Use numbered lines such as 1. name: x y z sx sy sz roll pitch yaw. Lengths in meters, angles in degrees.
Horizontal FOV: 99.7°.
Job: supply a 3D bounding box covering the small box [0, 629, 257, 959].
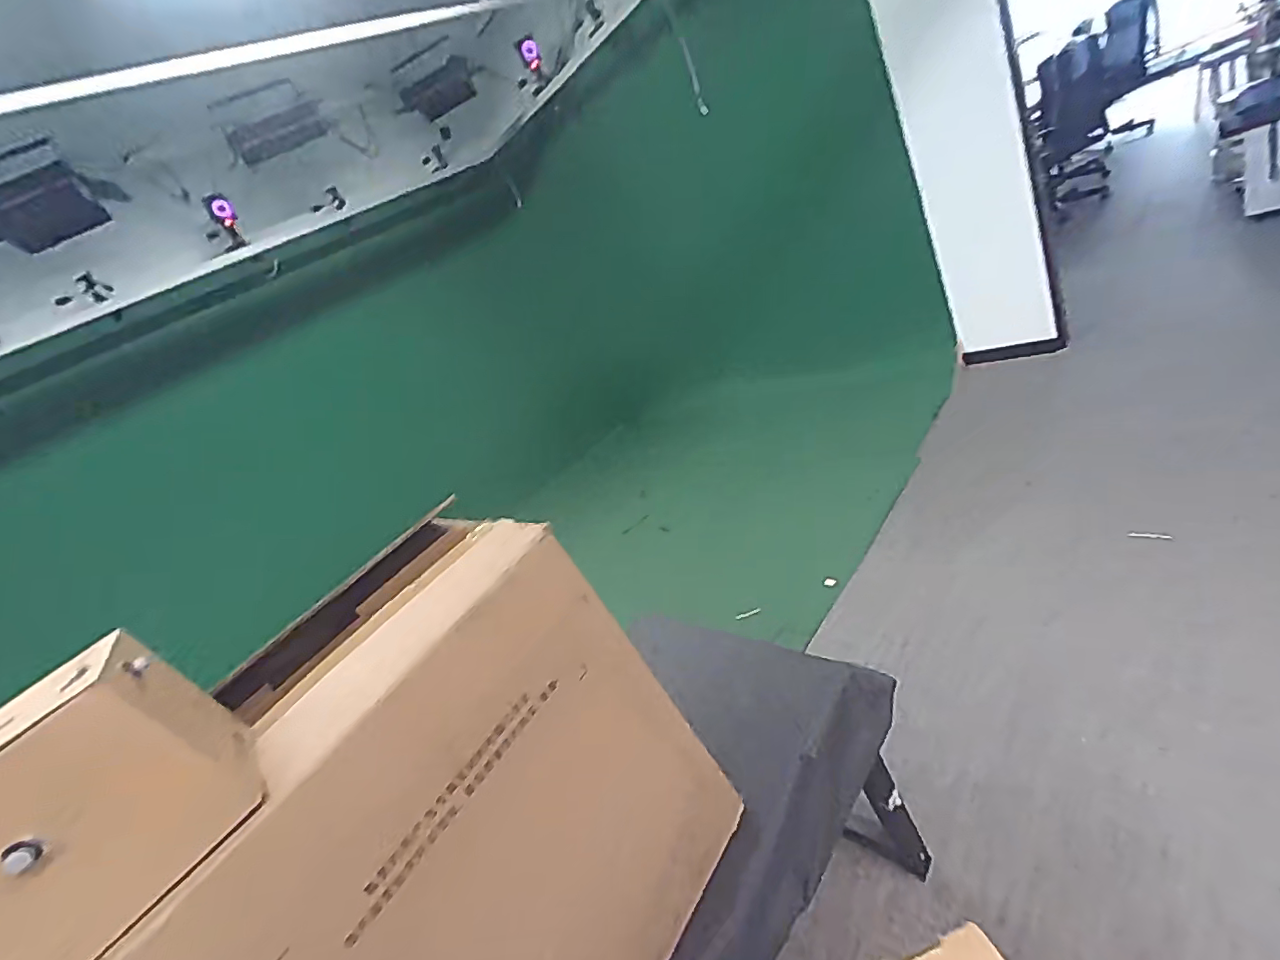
1. small box: -0.468 0.263 0.452 0.168 0.176 0.179 5 42 50
